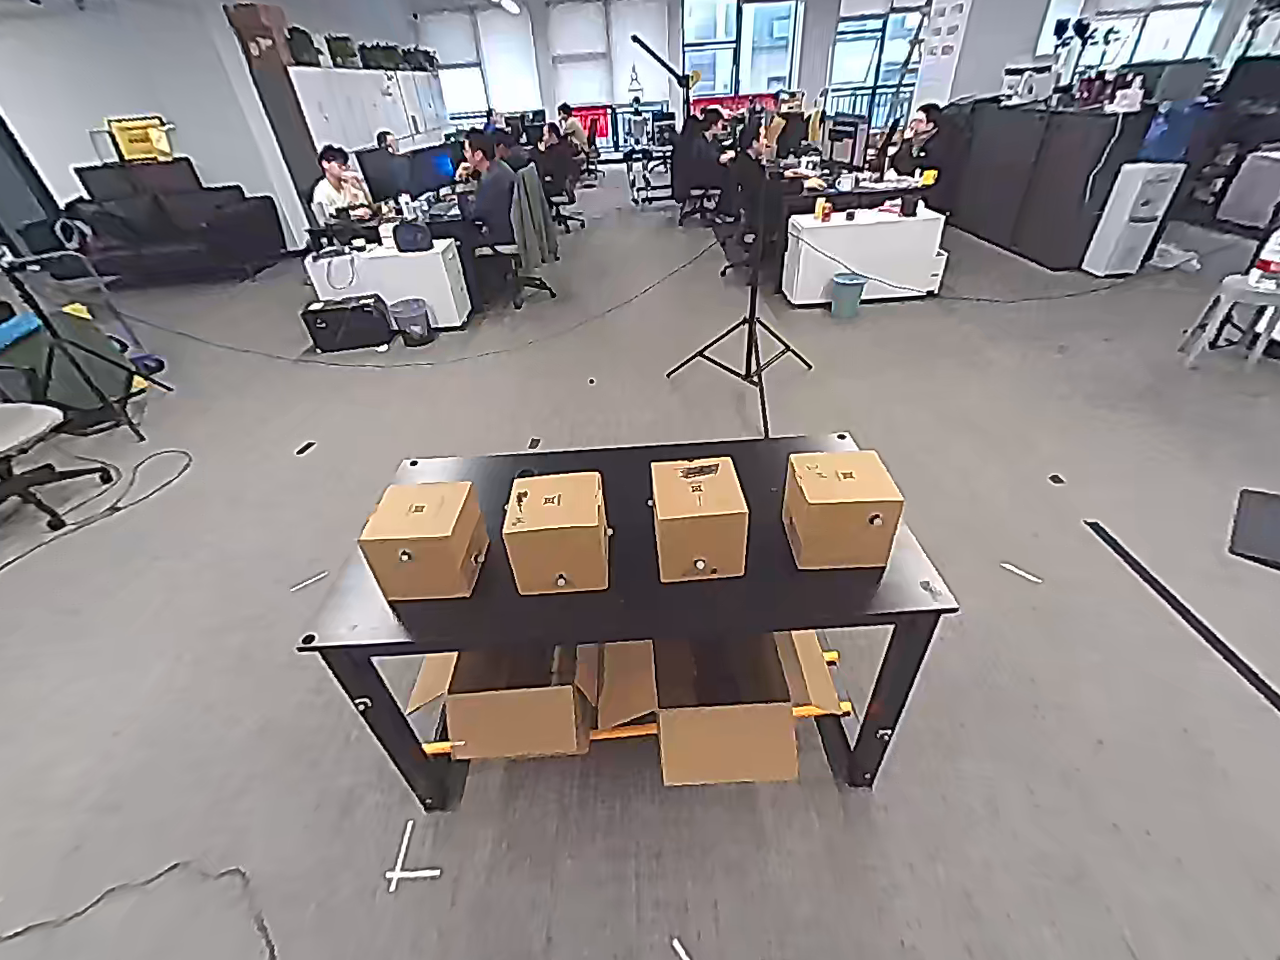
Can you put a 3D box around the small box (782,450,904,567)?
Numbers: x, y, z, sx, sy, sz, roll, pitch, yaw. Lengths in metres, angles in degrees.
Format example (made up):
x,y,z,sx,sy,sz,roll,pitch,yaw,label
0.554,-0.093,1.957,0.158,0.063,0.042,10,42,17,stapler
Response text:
x,y,z,sx,sy,sz,roll,pitch,yaw,label
0.392,0.058,1.076,0.179,0.176,0.168,-3,35,3,small box

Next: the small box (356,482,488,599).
x,y,z,sx,sy,sz,roll,pitch,yaw,label
-0.420,0.123,1.076,0.179,0.176,0.168,-3,37,1,small box

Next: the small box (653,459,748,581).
x,y,z,sx,sy,sz,roll,pitch,yaw,label
0.113,0.078,1.080,0.168,0.176,0.179,-5,37,-1,small box

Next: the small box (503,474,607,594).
x,y,z,sx,sy,sz,roll,pitch,yaw,label
-0.158,0.107,1.070,0.179,0.176,0.168,-4,36,-1,small box
